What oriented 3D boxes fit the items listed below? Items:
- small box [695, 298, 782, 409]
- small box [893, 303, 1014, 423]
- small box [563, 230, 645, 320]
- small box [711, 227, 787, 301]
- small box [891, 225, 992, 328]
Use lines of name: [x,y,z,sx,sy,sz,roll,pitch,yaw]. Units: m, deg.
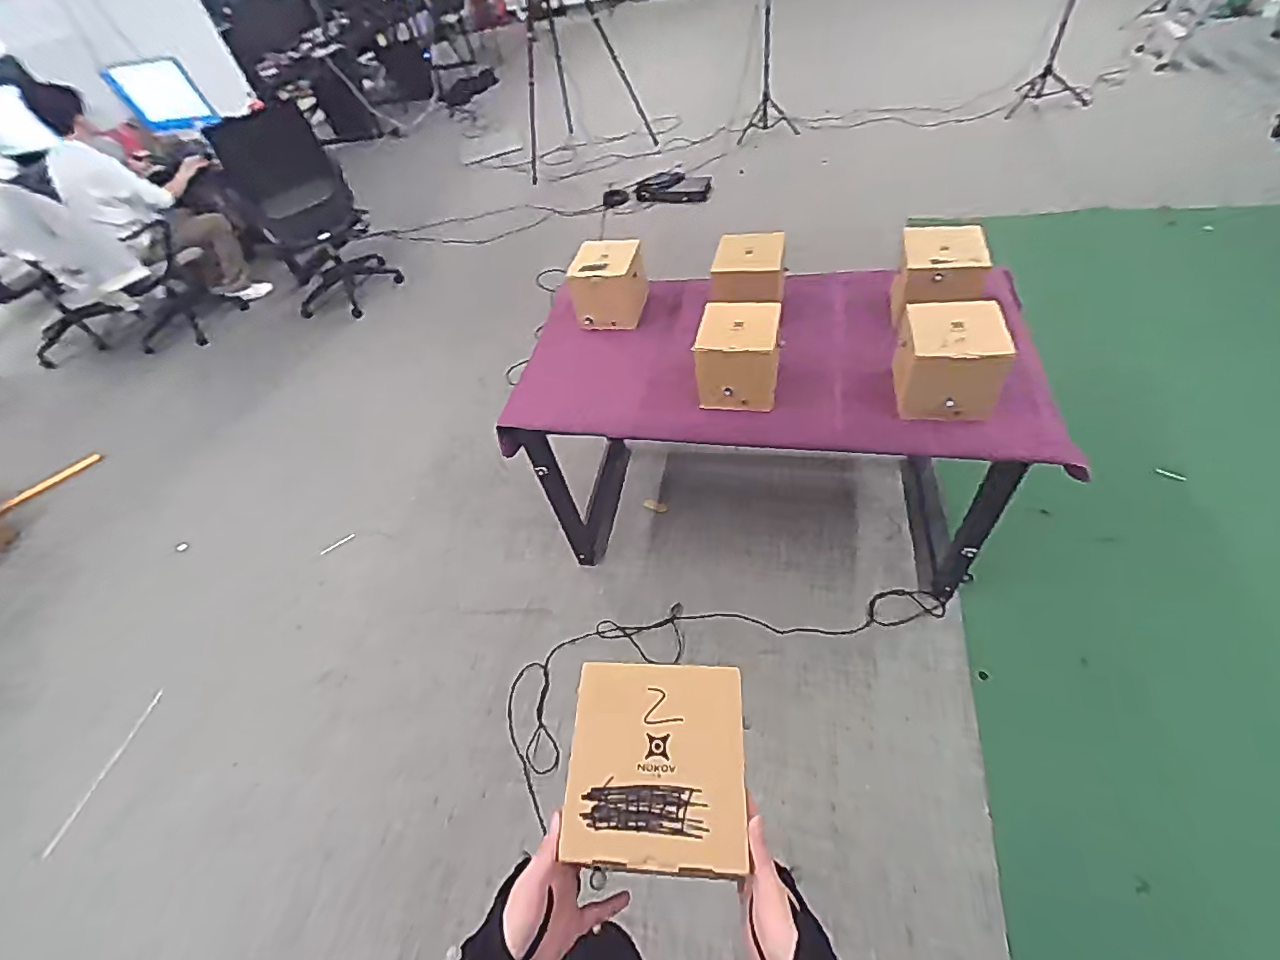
small box: [0.219,-0.283,1.208,0.168,0.176,0.179,6,53,14]
small box: [0.622,-0.239,1.098,0.168,0.176,0.179,3,53,14]
small box: [-0.089,-0.552,1.468,0.168,0.176,0.179,6,54,14]
small box: [0.280,-0.525,1.388,0.168,0.176,0.179,7,55,16]
small box: [0.698,-0.476,1.275,0.168,0.176,0.179,5,53,15]
